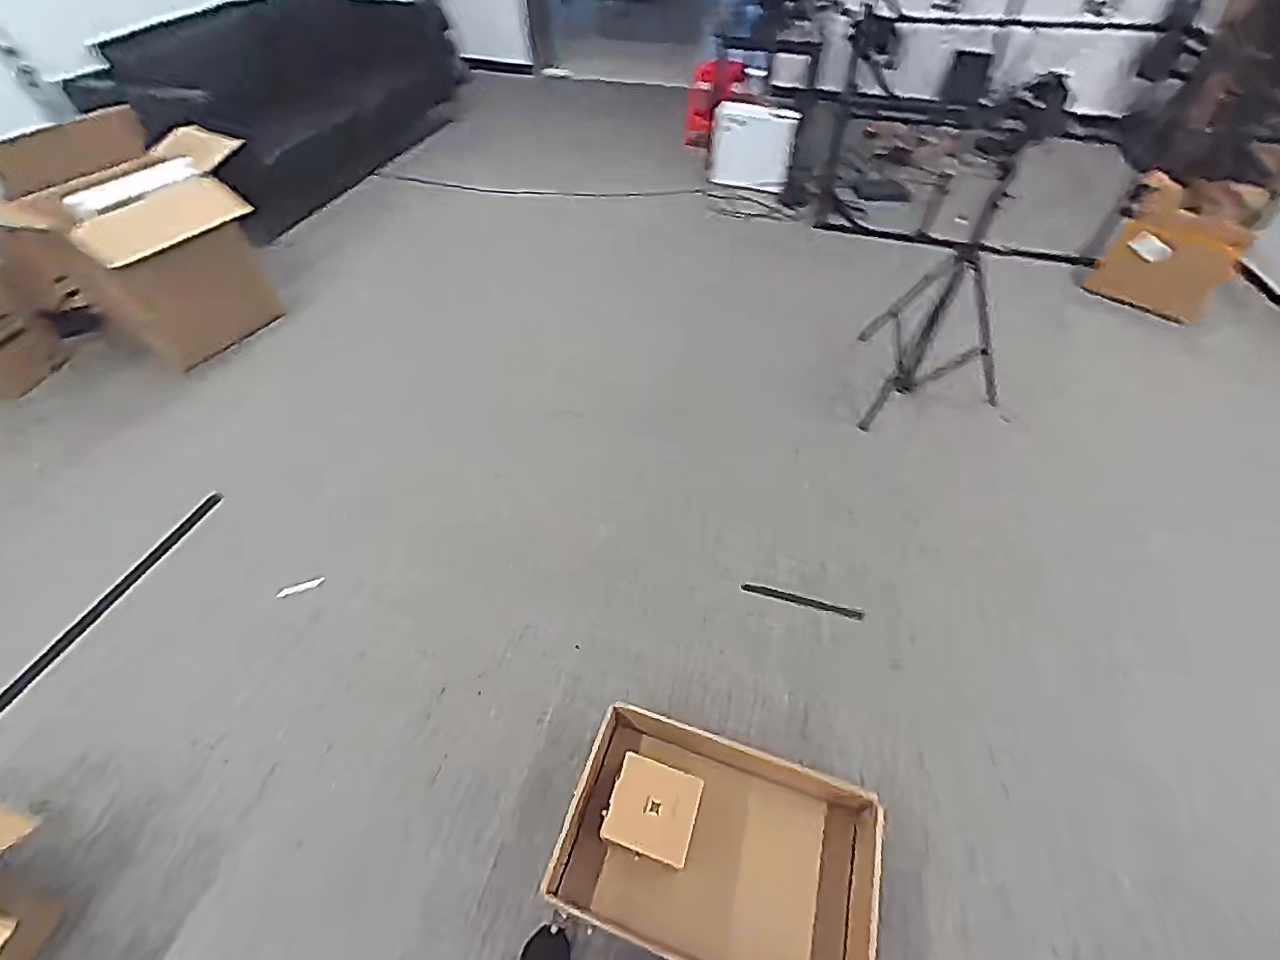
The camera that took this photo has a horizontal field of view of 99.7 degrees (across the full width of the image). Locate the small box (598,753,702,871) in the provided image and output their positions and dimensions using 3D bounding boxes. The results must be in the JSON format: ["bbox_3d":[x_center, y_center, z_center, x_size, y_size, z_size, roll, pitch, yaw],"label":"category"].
[{"bbox_3d":[0.023,0.720,1.167,0.179,0.176,0.168,16,54,11],"label":"small box"}]
